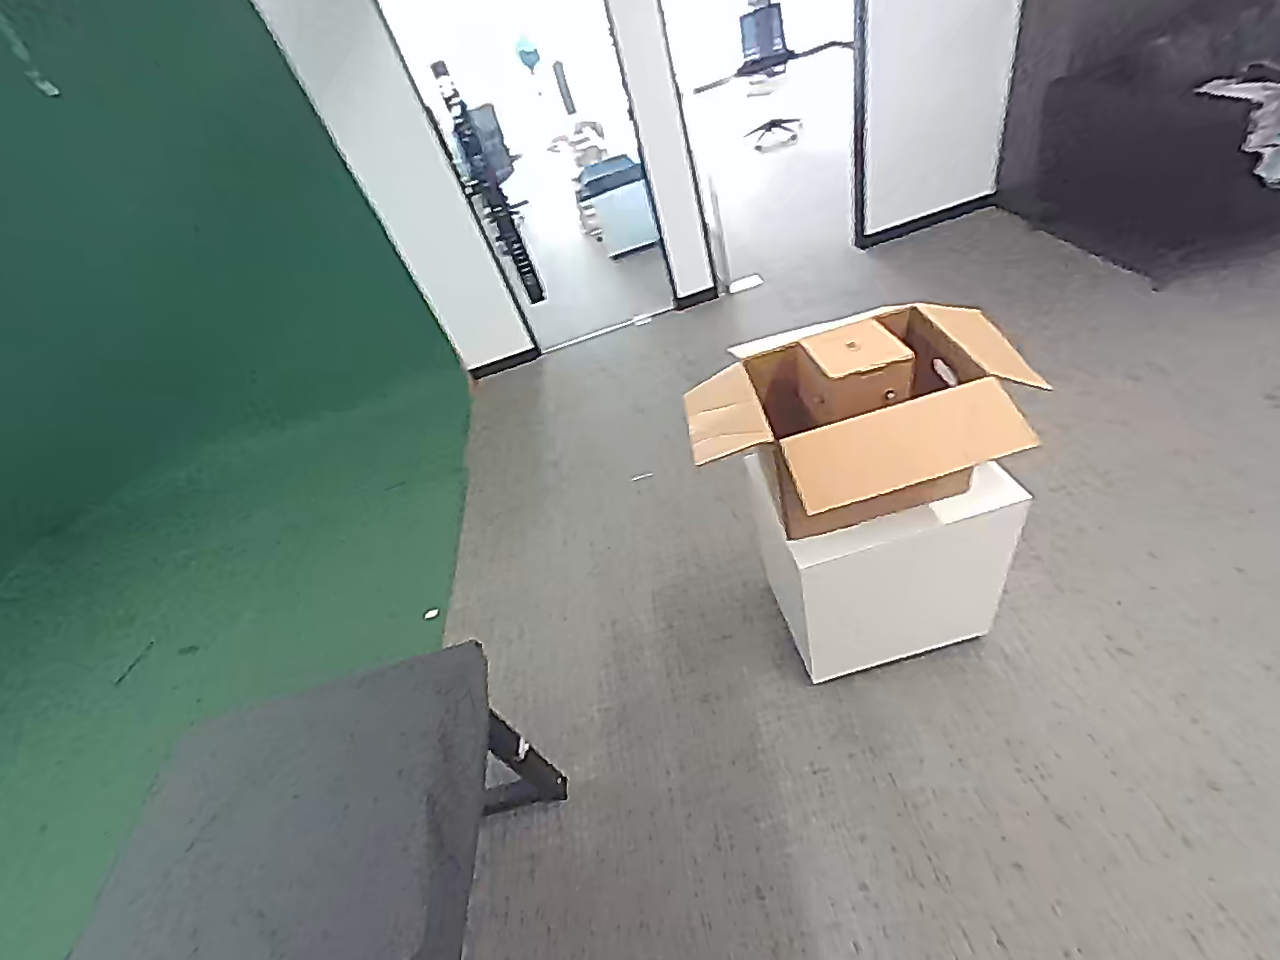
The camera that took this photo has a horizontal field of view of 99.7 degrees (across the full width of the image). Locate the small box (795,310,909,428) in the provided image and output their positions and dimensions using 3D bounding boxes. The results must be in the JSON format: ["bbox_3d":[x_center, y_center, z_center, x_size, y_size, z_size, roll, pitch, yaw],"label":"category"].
[{"bbox_3d":[0.438,-0.226,1.134,0.168,0.176,0.179,-16,41,1],"label":"small box"}]
